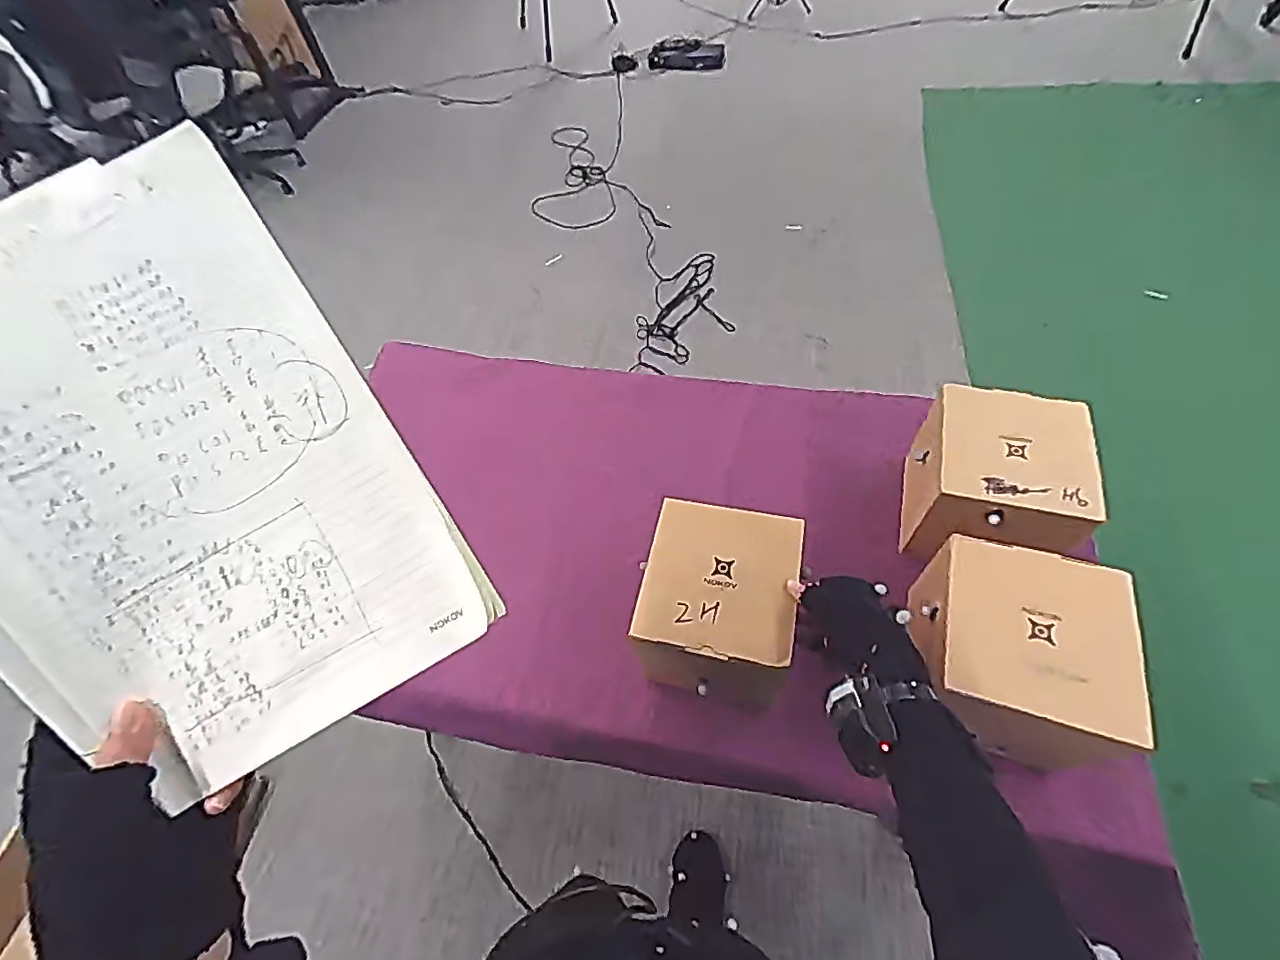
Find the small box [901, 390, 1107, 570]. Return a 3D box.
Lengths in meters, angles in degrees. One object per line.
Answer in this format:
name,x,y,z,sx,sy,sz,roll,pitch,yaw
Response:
small box,0.453,0.014,0.702,0.168,0.176,0.179,12,58,15

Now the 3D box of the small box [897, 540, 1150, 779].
small box,0.394,0.197,0.586,0.168,0.176,0.179,14,59,16

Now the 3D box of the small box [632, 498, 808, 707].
small box,0.096,0.150,0.649,0.168,0.176,0.179,10,58,13
